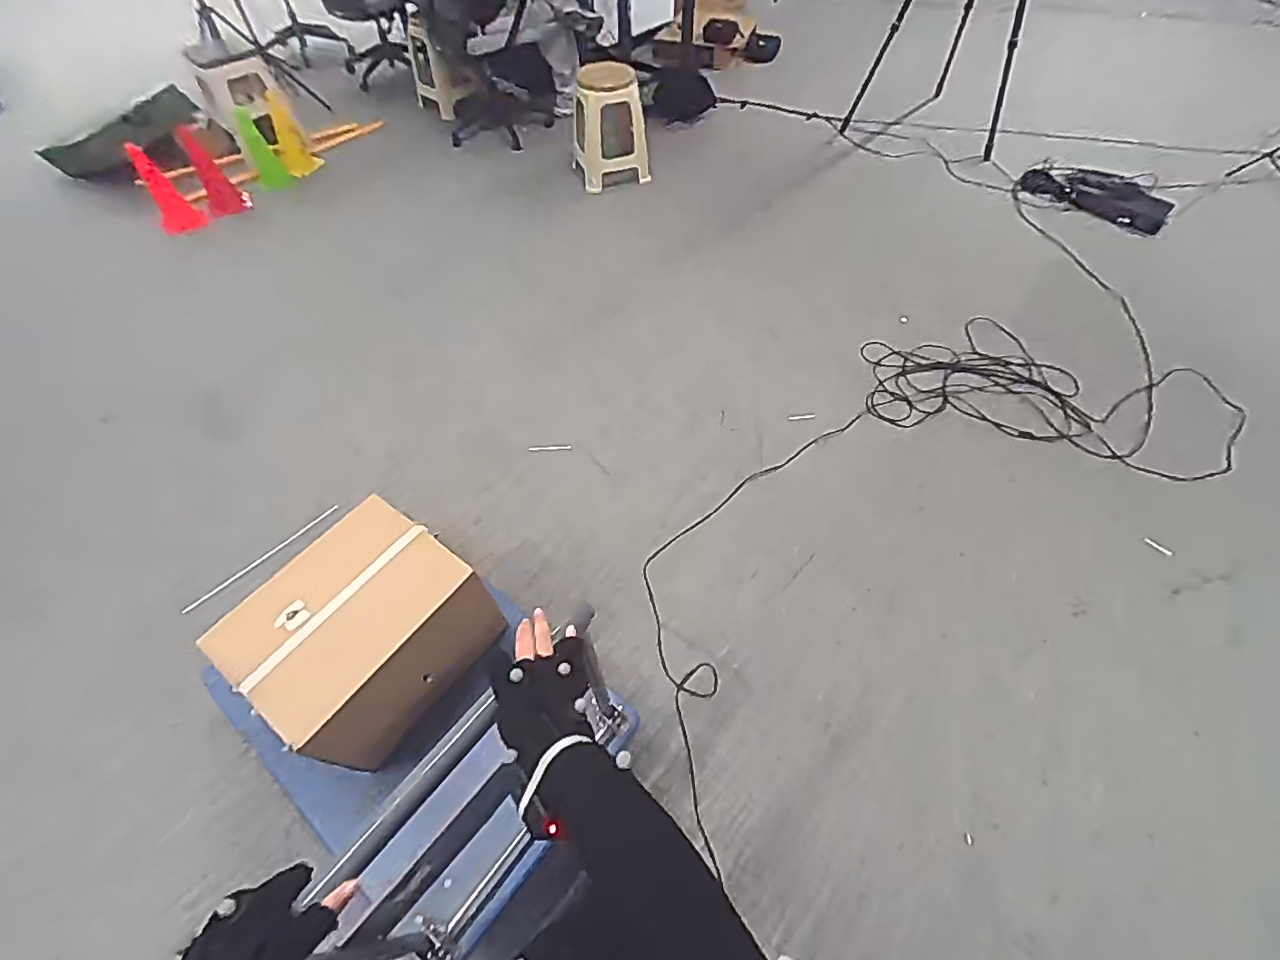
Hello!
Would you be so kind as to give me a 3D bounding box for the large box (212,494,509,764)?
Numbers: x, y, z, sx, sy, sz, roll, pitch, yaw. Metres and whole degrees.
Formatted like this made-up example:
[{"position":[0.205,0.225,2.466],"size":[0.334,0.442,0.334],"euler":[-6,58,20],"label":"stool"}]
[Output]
[{"position":[-0.552,0.317,1.156],"size":[0.320,0.320,0.408],"euler":[30,63,21],"label":"large box"}]
